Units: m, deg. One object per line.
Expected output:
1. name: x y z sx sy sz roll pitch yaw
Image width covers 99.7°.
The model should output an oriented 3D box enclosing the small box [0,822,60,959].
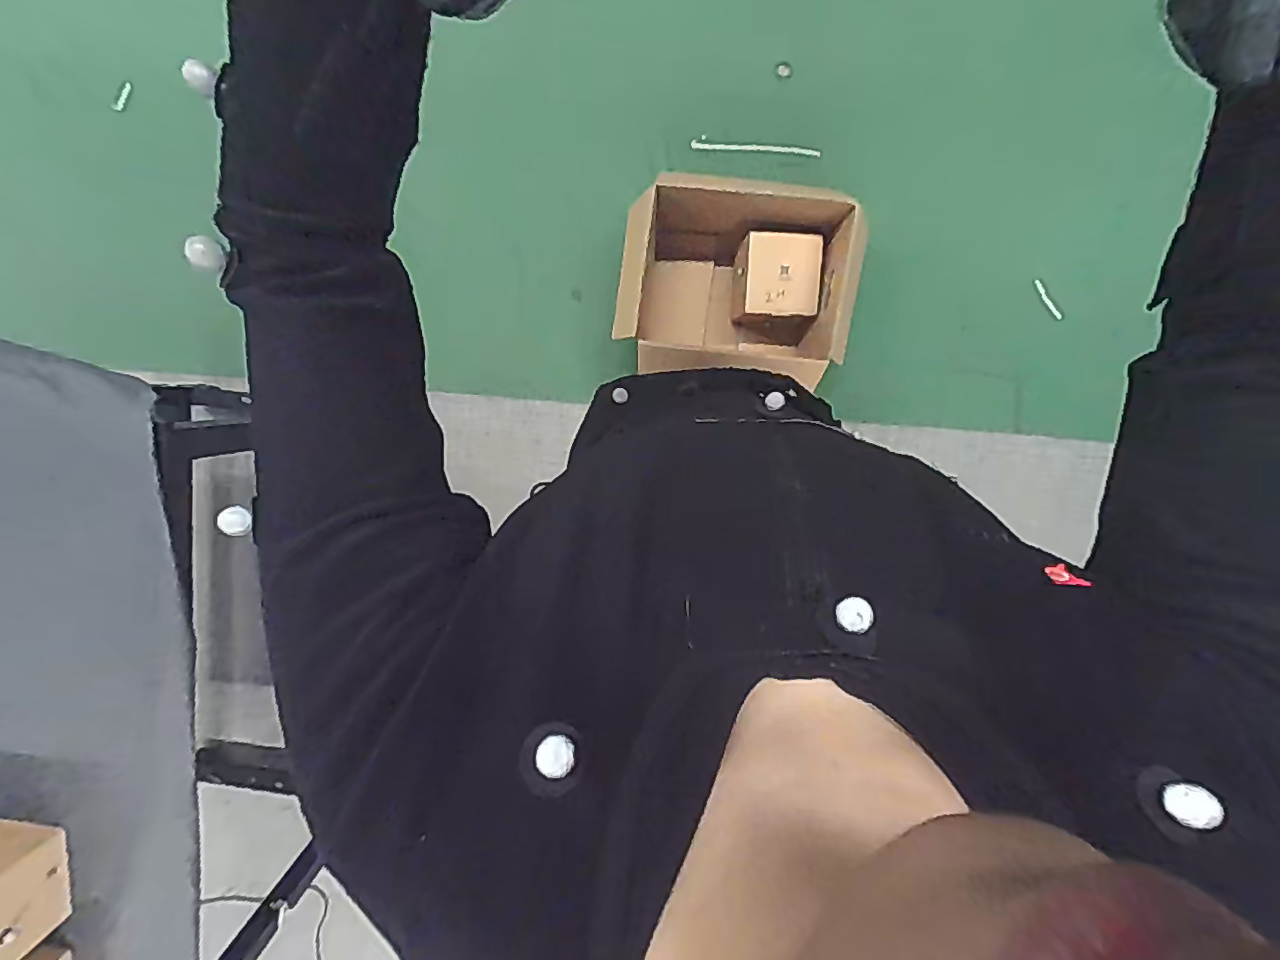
1. small box: -1.026 0.642 0.803 0.179 0.176 0.168 6 100 2
